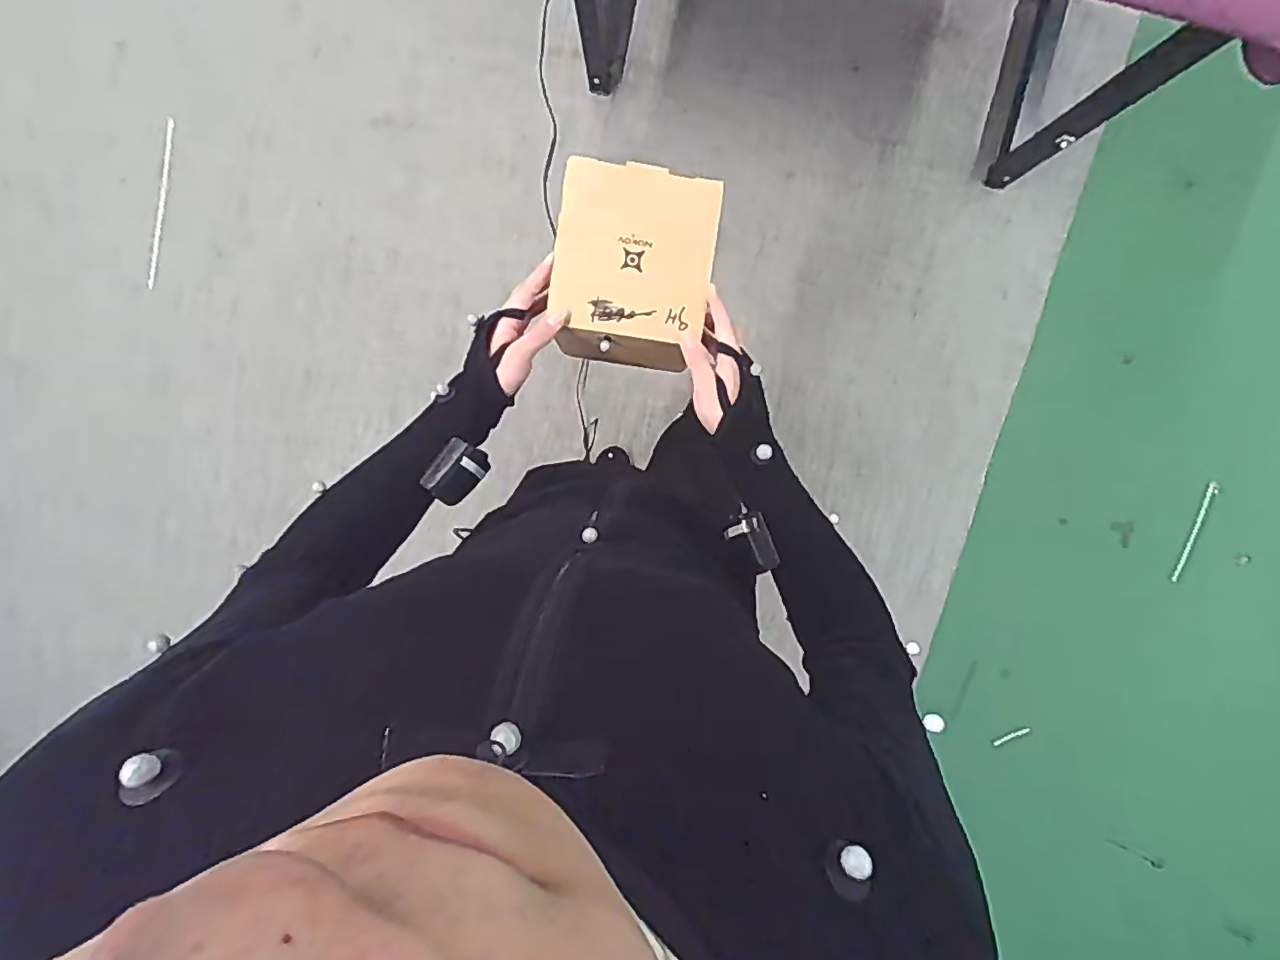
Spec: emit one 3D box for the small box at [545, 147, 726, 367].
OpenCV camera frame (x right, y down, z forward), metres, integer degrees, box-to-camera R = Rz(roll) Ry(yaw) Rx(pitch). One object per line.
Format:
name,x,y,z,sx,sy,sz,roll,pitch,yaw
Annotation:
small box,-0.007,-0.243,0.630,0.168,0.176,0.179,8,92,-2
